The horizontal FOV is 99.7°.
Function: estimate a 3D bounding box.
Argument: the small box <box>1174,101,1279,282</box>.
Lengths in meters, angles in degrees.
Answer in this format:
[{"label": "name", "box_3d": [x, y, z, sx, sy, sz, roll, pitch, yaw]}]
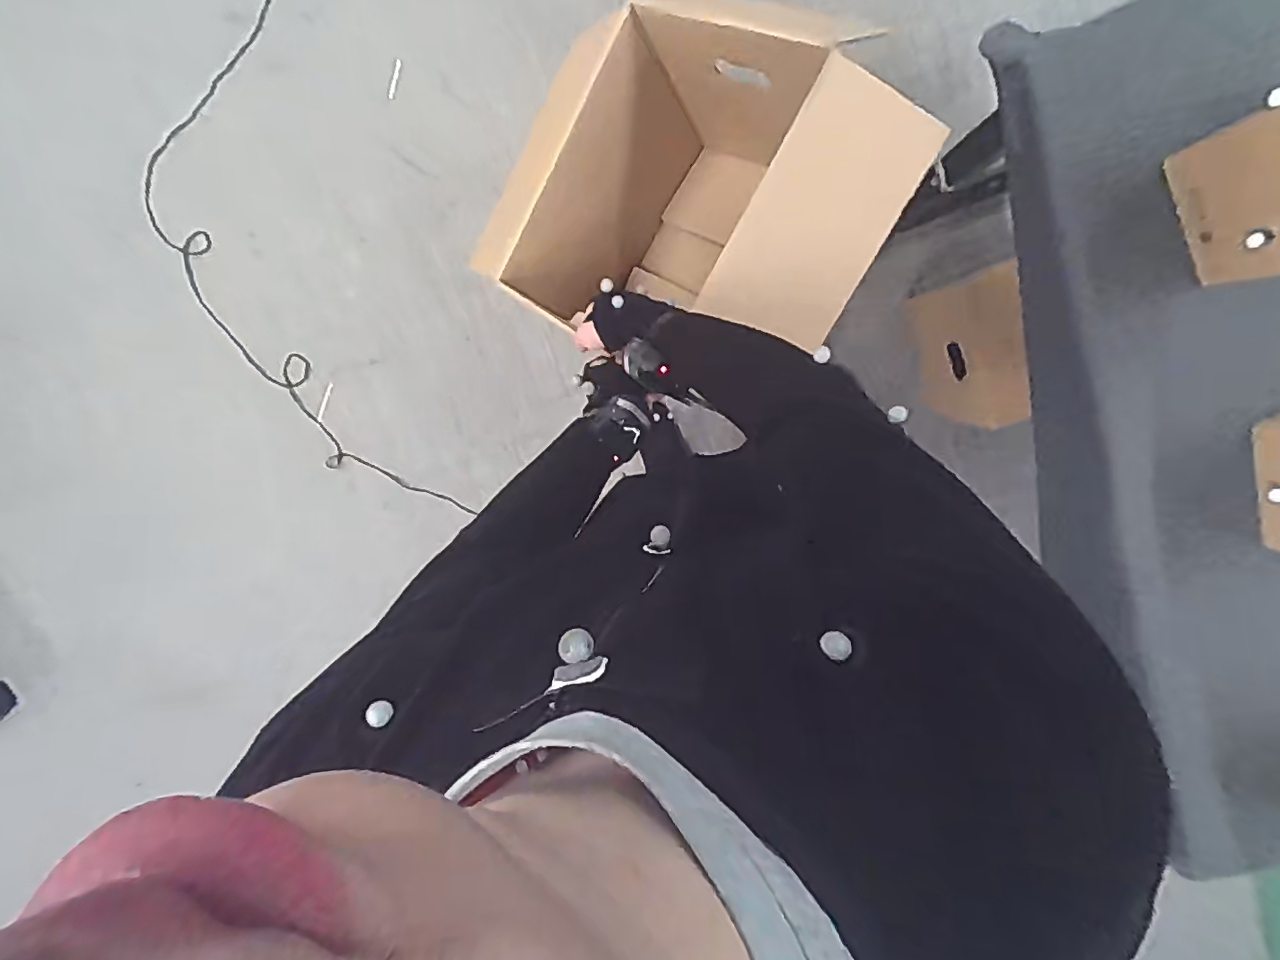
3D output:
[{"label": "small box", "box_3d": [0.727, -0.330, 0.569, 0.179, 0.176, 0.168, -26, 100, 9]}]
